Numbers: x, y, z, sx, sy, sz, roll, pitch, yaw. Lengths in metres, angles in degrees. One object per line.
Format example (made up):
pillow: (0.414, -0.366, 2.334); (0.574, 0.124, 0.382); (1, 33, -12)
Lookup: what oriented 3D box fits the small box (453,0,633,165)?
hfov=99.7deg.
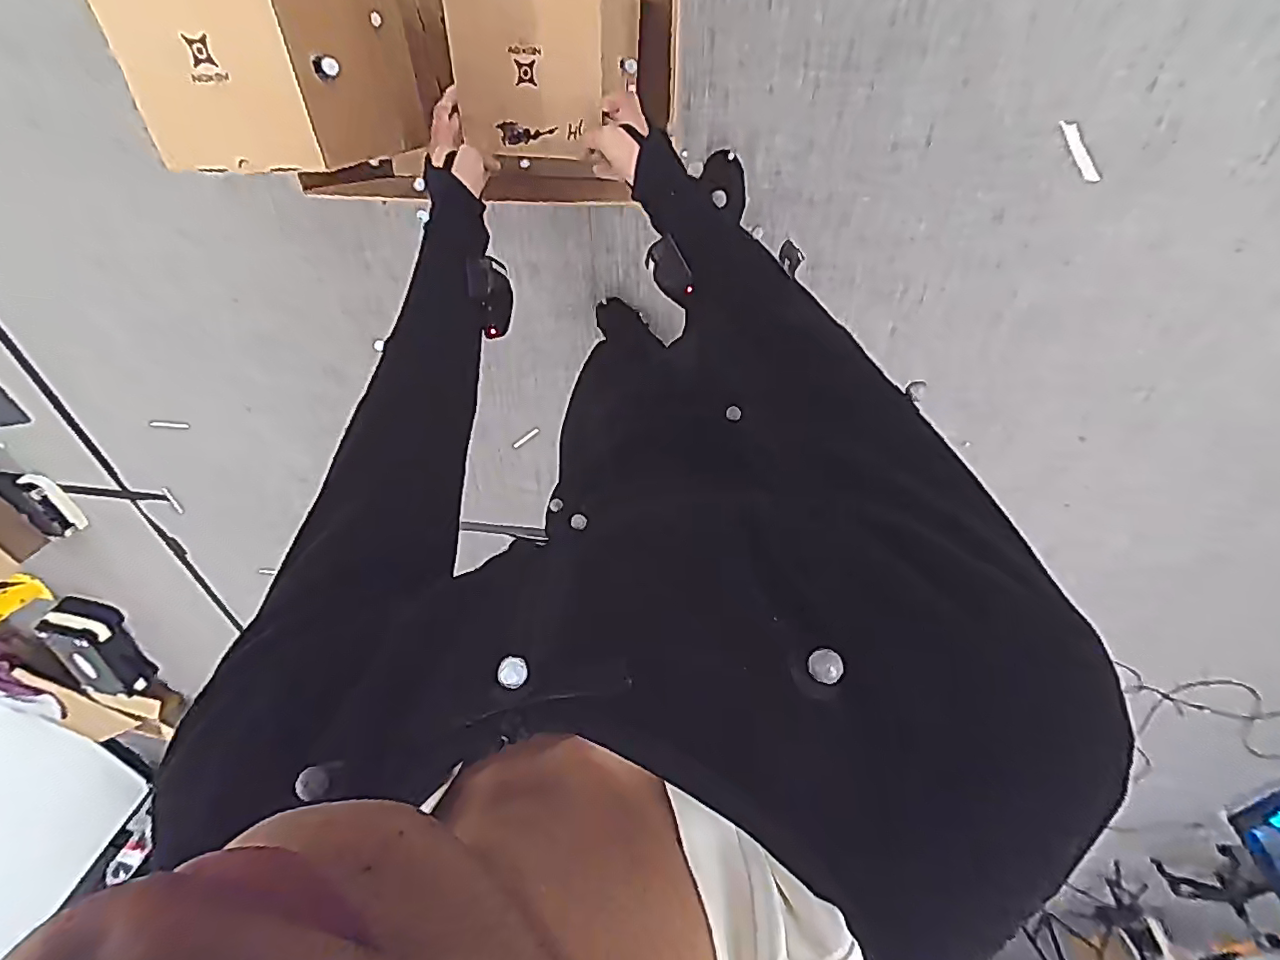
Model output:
small box: (-0.102, -0.486, 0.632); (0.168, 0.176, 0.179); (7, 128, 4)

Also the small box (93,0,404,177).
small box: (-0.364, -0.410, 0.531); (0.168, 0.176, 0.179); (2, 128, 5)

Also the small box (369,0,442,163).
small box: (-0.374, -0.500, 0.669); (0.168, 0.176, 0.179); (0, 129, 7)

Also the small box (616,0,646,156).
small box: (-0.088, -0.582, 0.766); (0.168, 0.176, 0.179); (9, 129, 2)
